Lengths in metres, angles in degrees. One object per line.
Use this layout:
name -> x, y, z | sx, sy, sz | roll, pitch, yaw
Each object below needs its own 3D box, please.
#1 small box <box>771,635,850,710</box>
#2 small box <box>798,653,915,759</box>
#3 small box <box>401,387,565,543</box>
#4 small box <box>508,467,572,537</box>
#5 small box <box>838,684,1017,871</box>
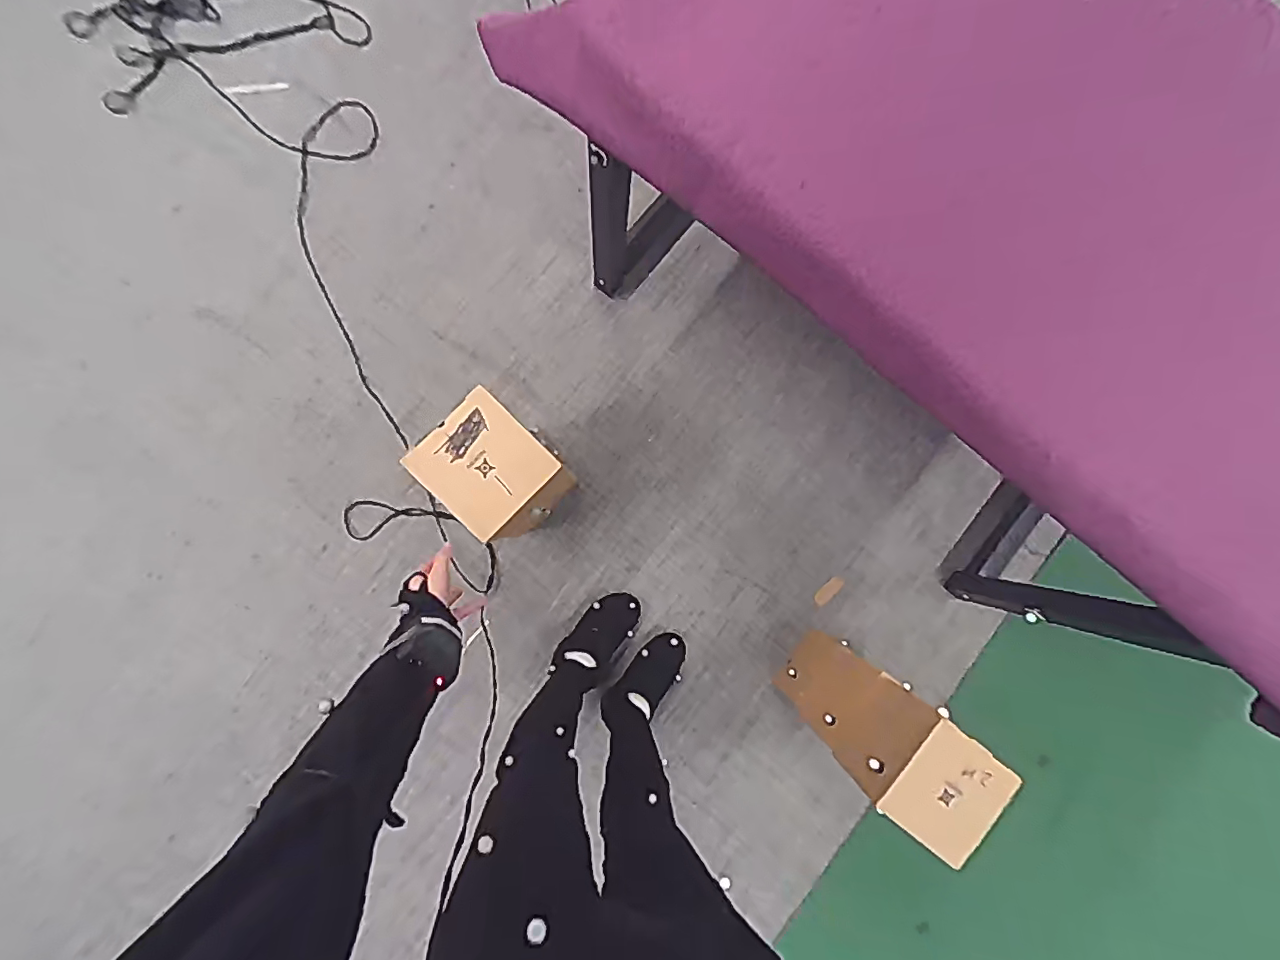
small box -> 0.428, 0.473, 1.227 | 0.179, 0.176, 0.168 | 41, 85, -2
small box -> 0.443, 0.472, 1.066 | 0.168, 0.176, 0.179 | 38, 86, -2
small box -> -0.239, -0.017, 0.871 | 0.168, 0.176, 0.179 | -45, 91, -5
small box -> -0.265, 0.006, 1.199 | 0.168, 0.176, 0.179 | 43, 86, -1
small box -> 0.459, 0.481, 0.902 | 0.168, 0.176, 0.179 | 39, 86, -2
